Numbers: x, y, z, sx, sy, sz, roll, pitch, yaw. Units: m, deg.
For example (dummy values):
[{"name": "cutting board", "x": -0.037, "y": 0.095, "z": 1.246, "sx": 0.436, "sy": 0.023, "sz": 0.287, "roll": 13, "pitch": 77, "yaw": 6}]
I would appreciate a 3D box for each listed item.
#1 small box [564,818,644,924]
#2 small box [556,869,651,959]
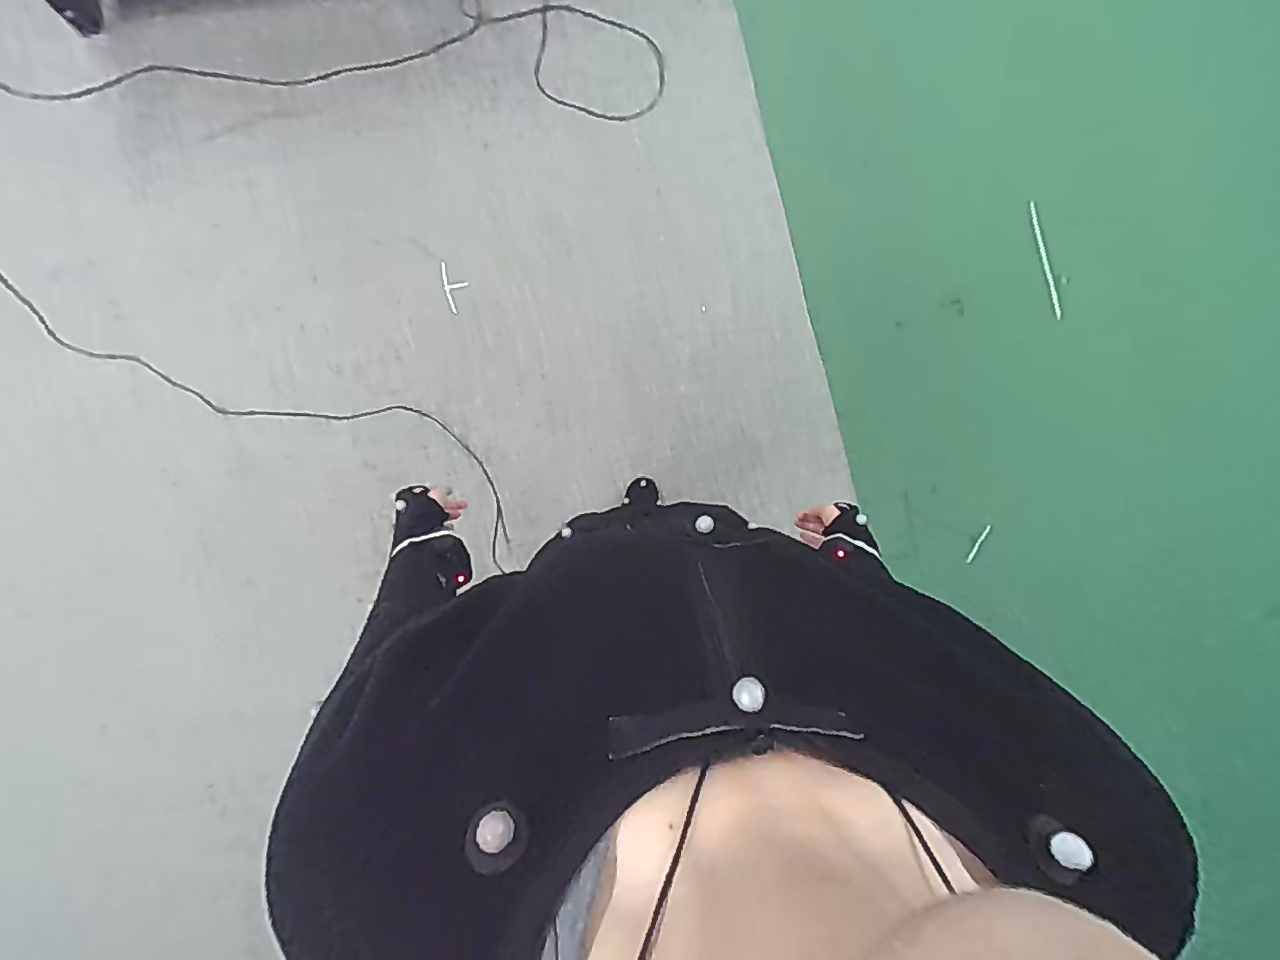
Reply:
[{"name": "small box", "x": -0.090, "y": 0.986, "z": 1.340, "sx": 0.168, "sy": 0.176, "sz": 0.179, "roll": -11, "pitch": 88, "yaw": -7}, {"name": "small box", "x": -0.078, "y": 0.998, "z": 1.176, "sx": 0.179, "sy": 0.176, "sz": 0.168, "roll": -15, "pitch": 89, "yaw": -7}]
